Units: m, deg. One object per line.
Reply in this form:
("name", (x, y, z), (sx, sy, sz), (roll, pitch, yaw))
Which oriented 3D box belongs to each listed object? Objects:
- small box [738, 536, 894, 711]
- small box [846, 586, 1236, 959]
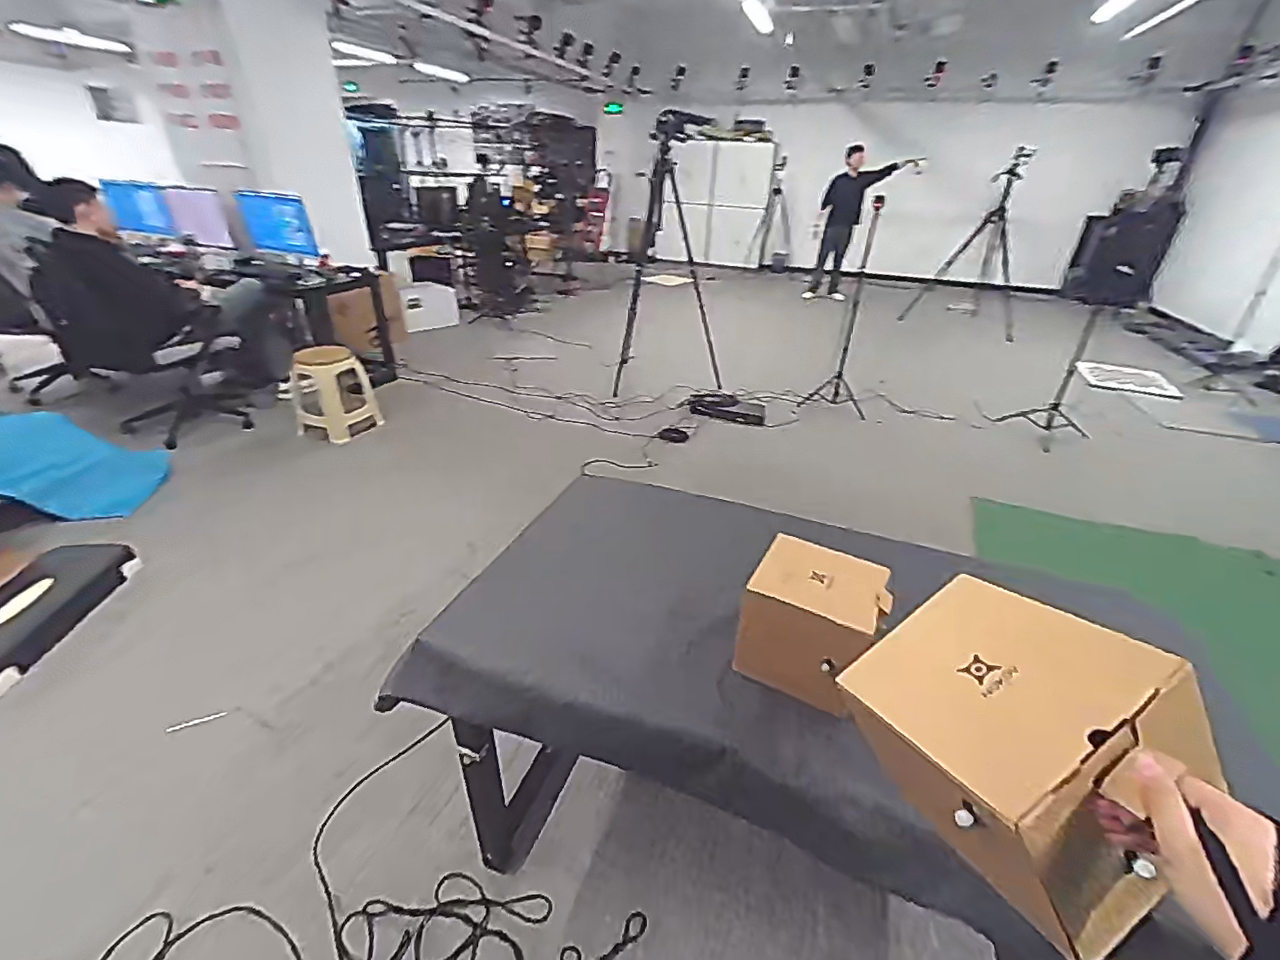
("small box", (0.265, 0.217, 0.825), (0.179, 0.176, 0.168), (16, 31, 25))
("small box", (0.311, 0.223, 0.437), (0.168, 0.176, 0.179), (-34, 19, -10))
